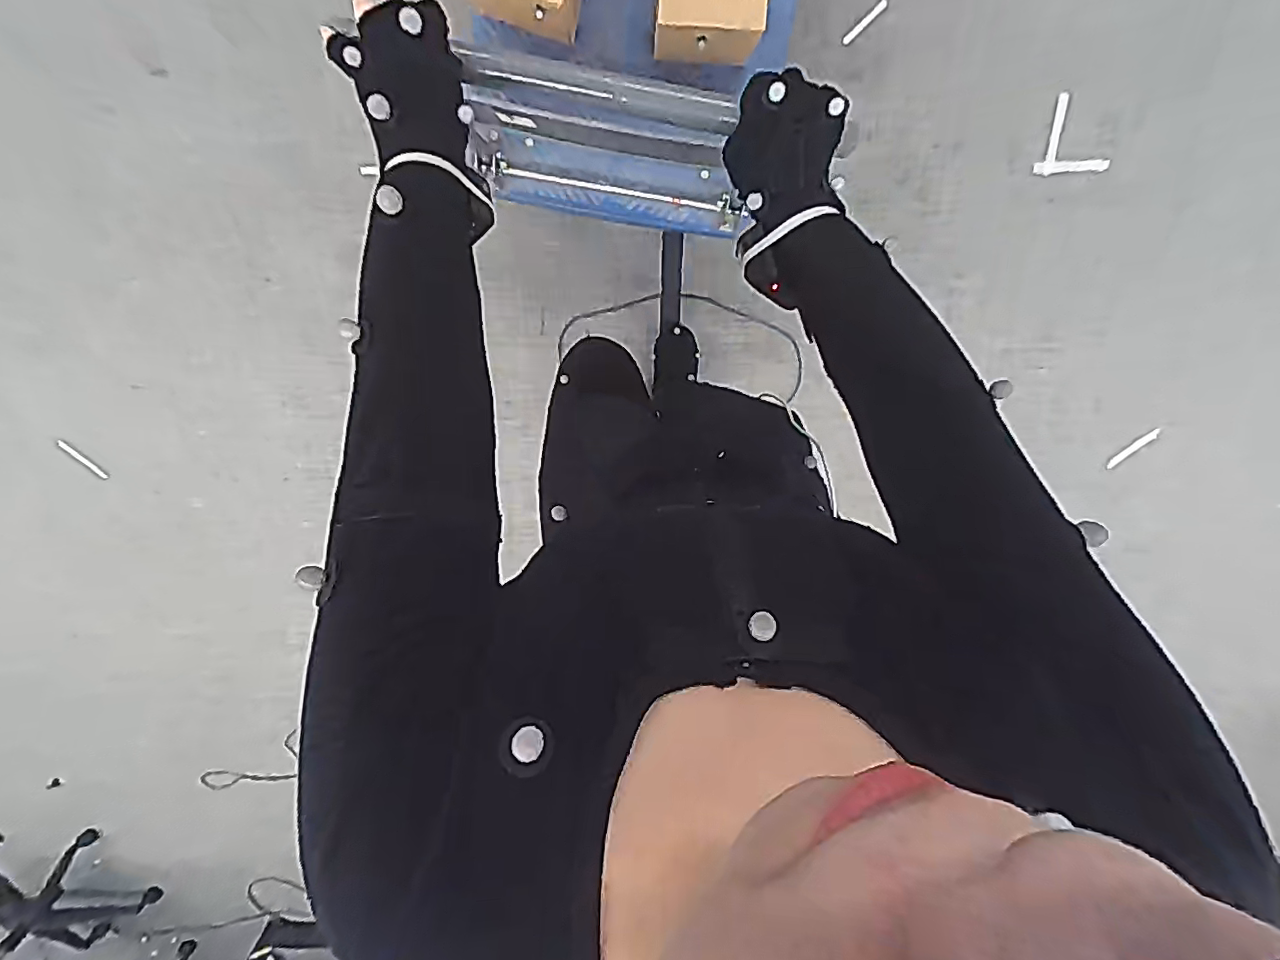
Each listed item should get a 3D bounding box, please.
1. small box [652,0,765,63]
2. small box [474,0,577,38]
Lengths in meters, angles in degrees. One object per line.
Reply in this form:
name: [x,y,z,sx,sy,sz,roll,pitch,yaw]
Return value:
small box: [0.111,-0.824,0.900,0.179,0.176,0.168,3,112,-2]
small box: [-0.190,-0.865,0.879,0.179,0.176,0.168,13,111,-8]
